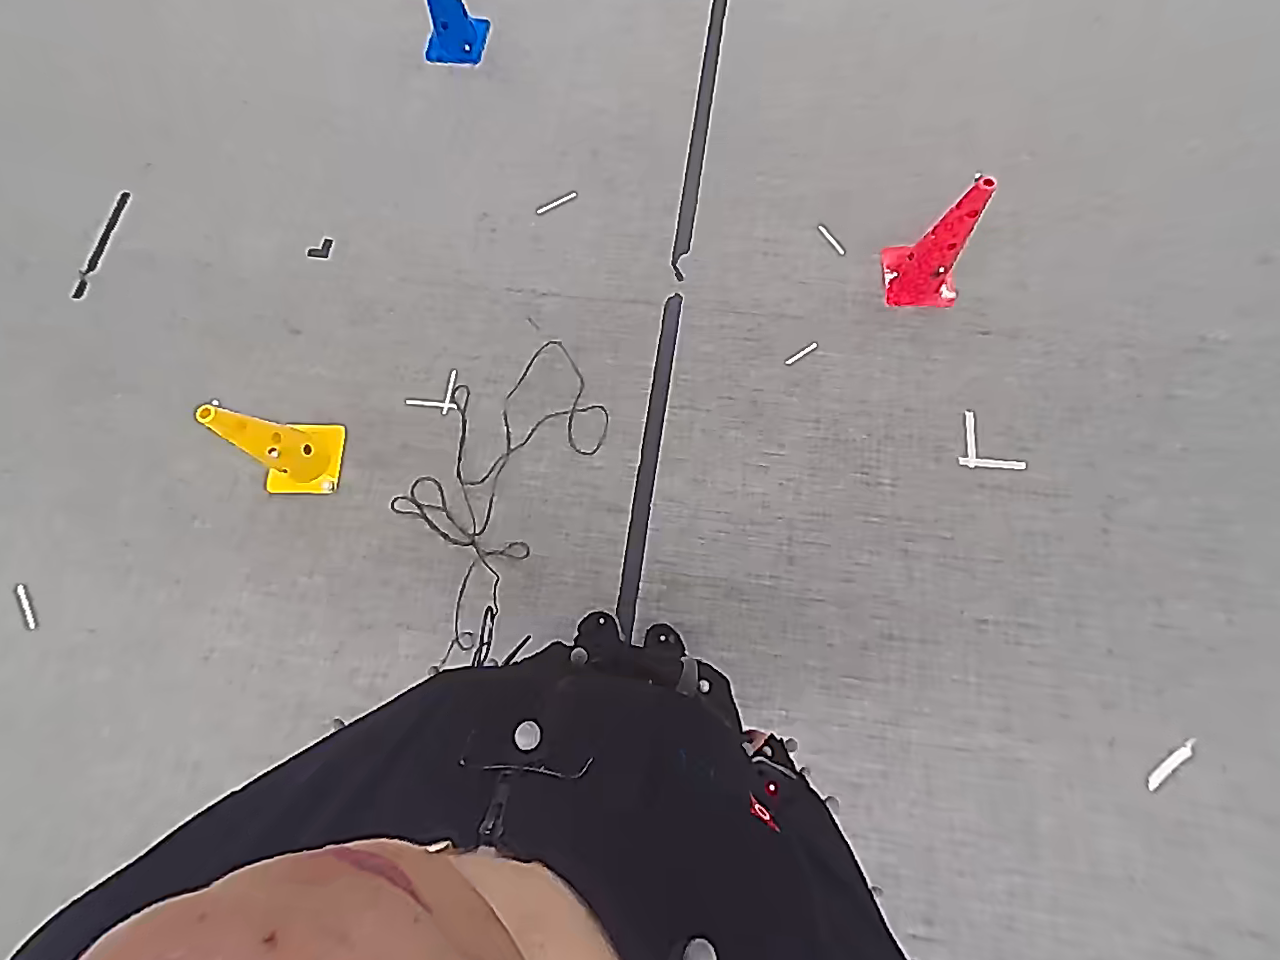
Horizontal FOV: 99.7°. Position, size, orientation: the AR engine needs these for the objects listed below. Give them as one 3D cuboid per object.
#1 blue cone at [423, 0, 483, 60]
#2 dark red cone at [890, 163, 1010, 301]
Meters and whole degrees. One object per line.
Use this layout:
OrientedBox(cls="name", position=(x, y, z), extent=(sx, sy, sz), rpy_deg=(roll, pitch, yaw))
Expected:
OrientedBox(cls="blue cone", position=(-0.652, -1.565, 1.708), extent=(0.192, 0.380, 0.193), rpy_deg=(8, 76, 5))
OrientedBox(cls="dark red cone", position=(0.811, -0.641, 1.382), extent=(0.201, 0.394, 0.202), rpy_deg=(0, 76, 3))
